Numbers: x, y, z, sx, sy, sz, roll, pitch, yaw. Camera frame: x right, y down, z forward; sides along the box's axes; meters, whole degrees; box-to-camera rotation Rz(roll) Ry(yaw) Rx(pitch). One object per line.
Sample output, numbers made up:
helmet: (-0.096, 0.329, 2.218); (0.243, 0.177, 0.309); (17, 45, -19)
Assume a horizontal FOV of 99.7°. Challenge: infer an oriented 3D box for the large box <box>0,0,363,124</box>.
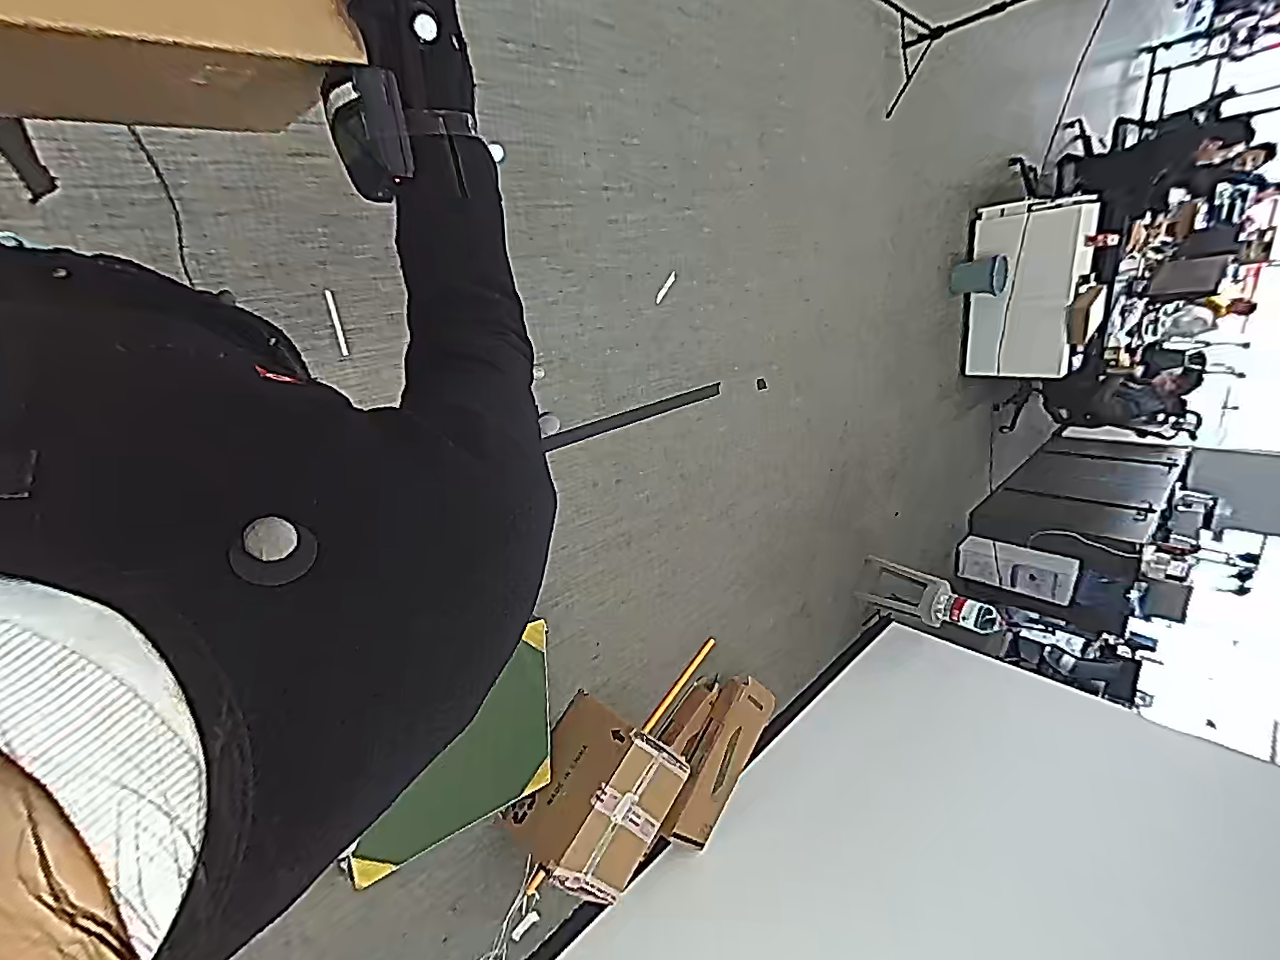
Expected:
large box: (-0.426, -0.385, 0.264); (0.408, 0.320, 0.320); (-22, 124, -36)
